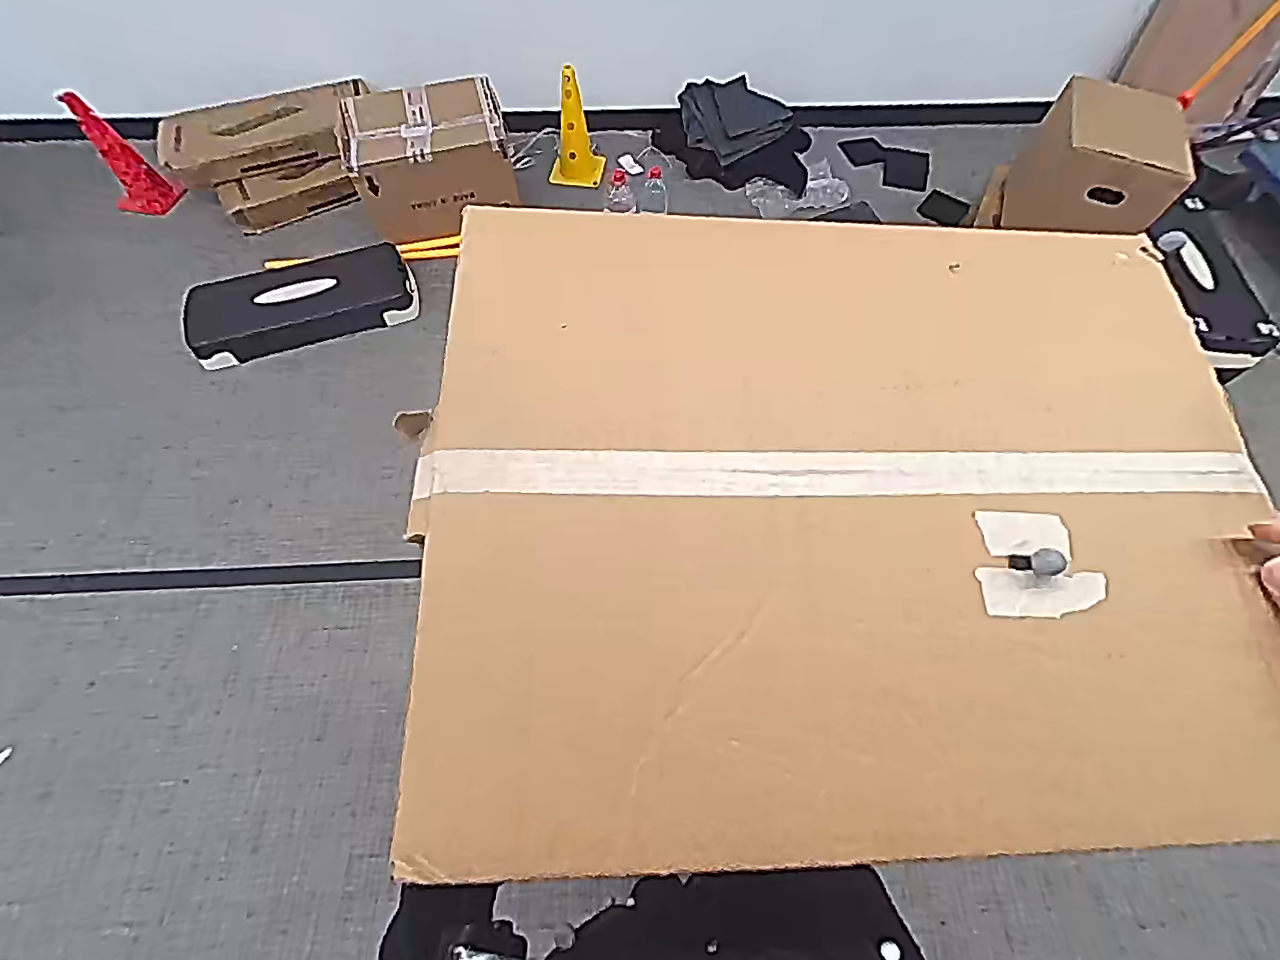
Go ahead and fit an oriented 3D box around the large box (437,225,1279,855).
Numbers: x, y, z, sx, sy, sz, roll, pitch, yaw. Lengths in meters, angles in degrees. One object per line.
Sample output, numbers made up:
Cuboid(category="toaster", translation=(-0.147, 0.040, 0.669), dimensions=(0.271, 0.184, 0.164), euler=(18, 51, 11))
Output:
Cuboid(category="large box", translation=(0.098, 0.049, 0.412), dimensions=(0.408, 0.320, 0.320), euler=(1, 71, -6))
